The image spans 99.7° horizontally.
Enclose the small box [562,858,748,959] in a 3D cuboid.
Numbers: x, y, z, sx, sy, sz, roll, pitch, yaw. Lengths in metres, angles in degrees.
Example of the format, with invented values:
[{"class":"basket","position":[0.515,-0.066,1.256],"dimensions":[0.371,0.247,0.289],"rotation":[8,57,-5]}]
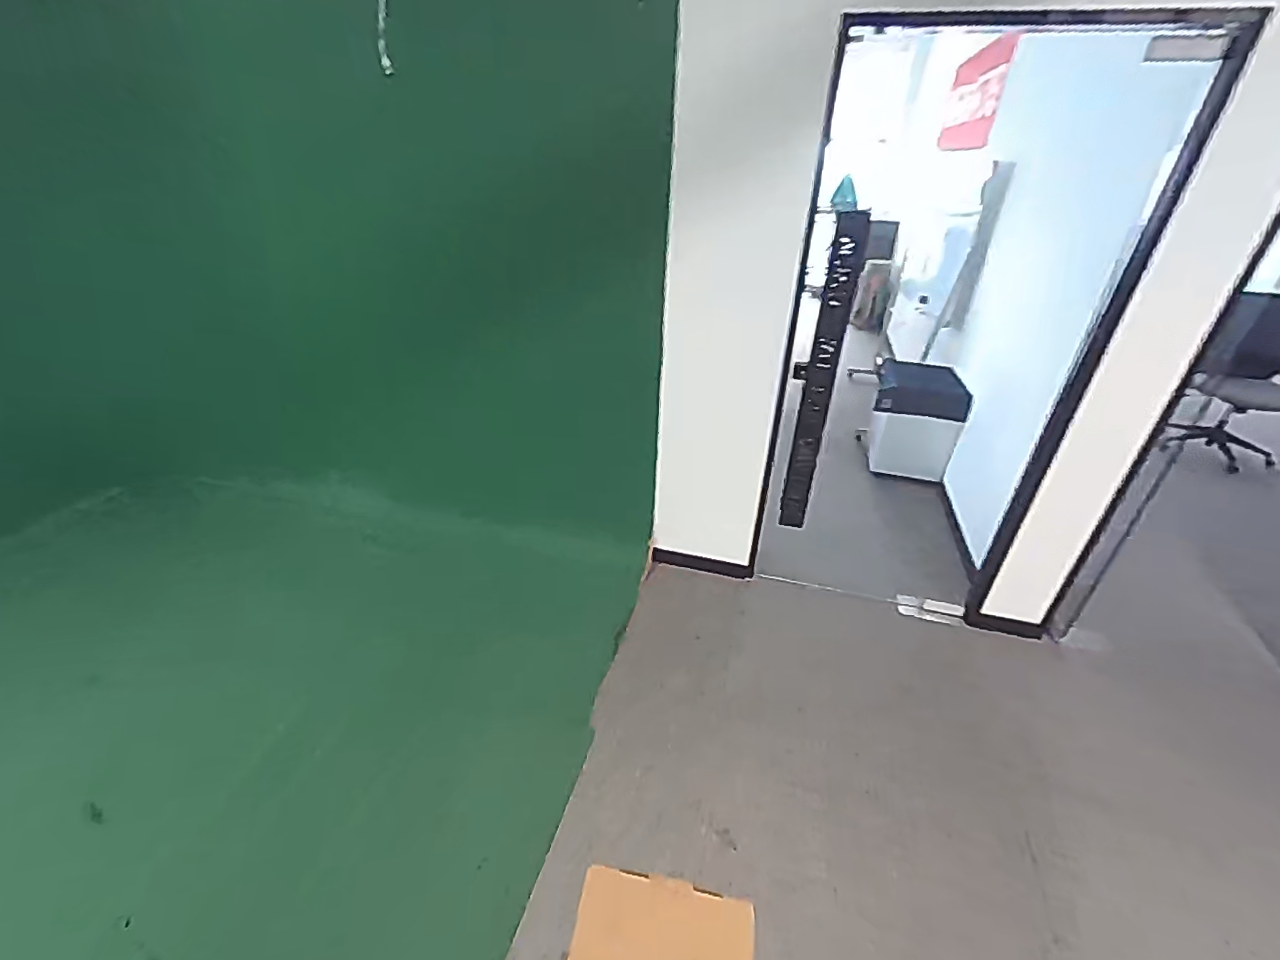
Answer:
[{"class":"small box","position":[0.003,0.508,0.521],"dimensions":[0.168,0.176,0.179],"rotation":[9,42,7]}]
